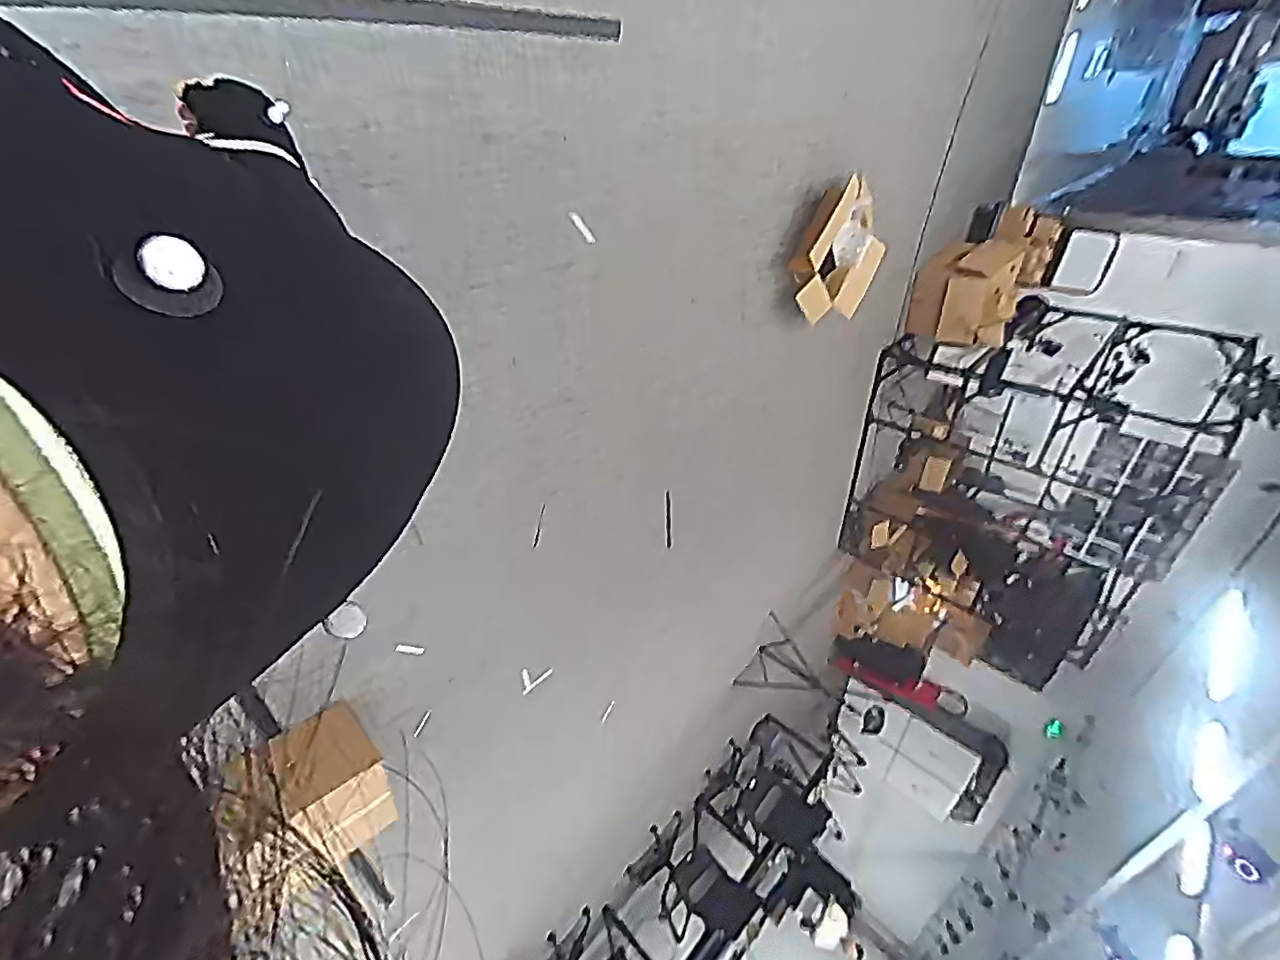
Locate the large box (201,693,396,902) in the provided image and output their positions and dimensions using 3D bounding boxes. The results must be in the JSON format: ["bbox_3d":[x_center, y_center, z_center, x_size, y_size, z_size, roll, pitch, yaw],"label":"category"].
[{"bbox_3d":[-1.048,0.962,1.690,0.408,0.320,0.320,-25,130,-41],"label":"large box"}]
